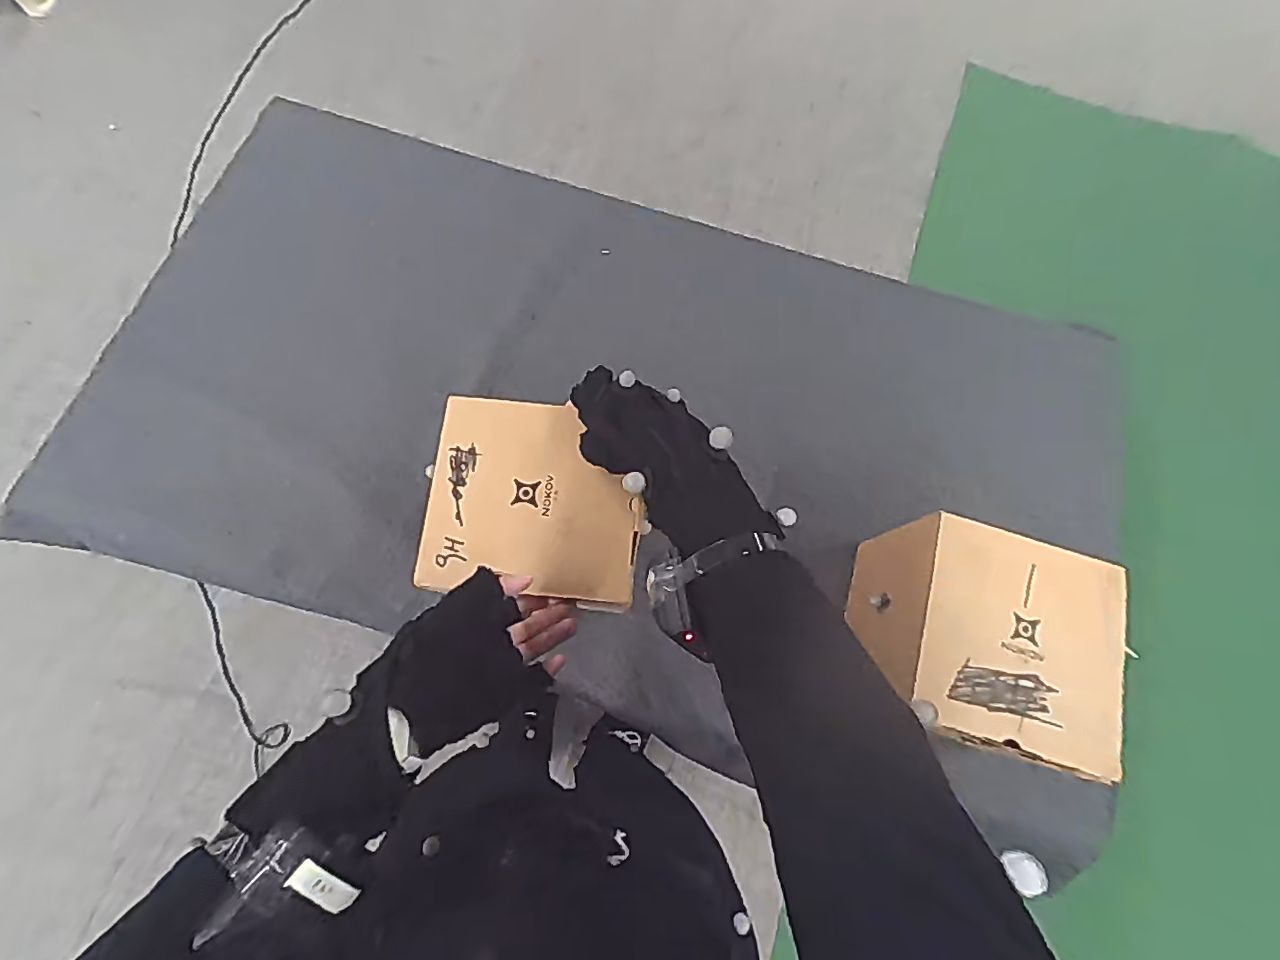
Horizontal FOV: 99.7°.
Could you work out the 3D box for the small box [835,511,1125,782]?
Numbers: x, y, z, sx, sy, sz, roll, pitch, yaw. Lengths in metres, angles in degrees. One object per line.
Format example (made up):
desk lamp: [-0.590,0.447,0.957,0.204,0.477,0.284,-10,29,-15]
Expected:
small box: [0.306,0.152,0.518,0.168,0.176,0.179,18,73,2]

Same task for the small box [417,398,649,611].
small box: [-0.091,0.036,0.529,0.179,0.176,0.168,5,73,-3]
